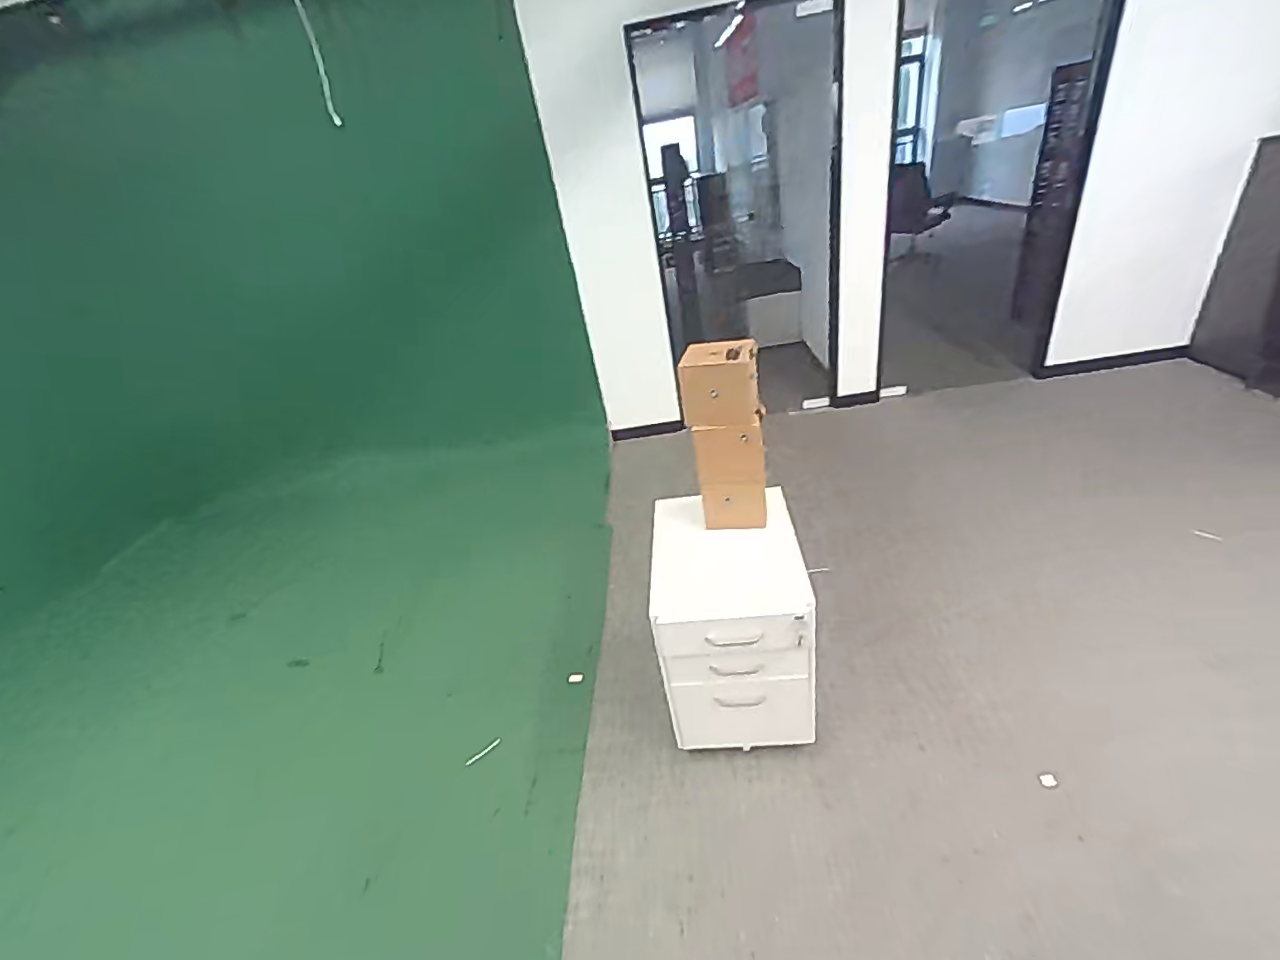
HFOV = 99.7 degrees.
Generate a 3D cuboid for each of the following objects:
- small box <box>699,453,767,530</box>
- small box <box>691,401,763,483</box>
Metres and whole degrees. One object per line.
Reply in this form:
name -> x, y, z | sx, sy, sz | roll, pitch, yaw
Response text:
small box -> 0.274, 0.034, 1.573 | 0.179, 0.176, 0.168 | -3, 32, 14
small box -> 0.243, -0.101, 1.488 | 0.179, 0.176, 0.168 | -3, 32, 13
